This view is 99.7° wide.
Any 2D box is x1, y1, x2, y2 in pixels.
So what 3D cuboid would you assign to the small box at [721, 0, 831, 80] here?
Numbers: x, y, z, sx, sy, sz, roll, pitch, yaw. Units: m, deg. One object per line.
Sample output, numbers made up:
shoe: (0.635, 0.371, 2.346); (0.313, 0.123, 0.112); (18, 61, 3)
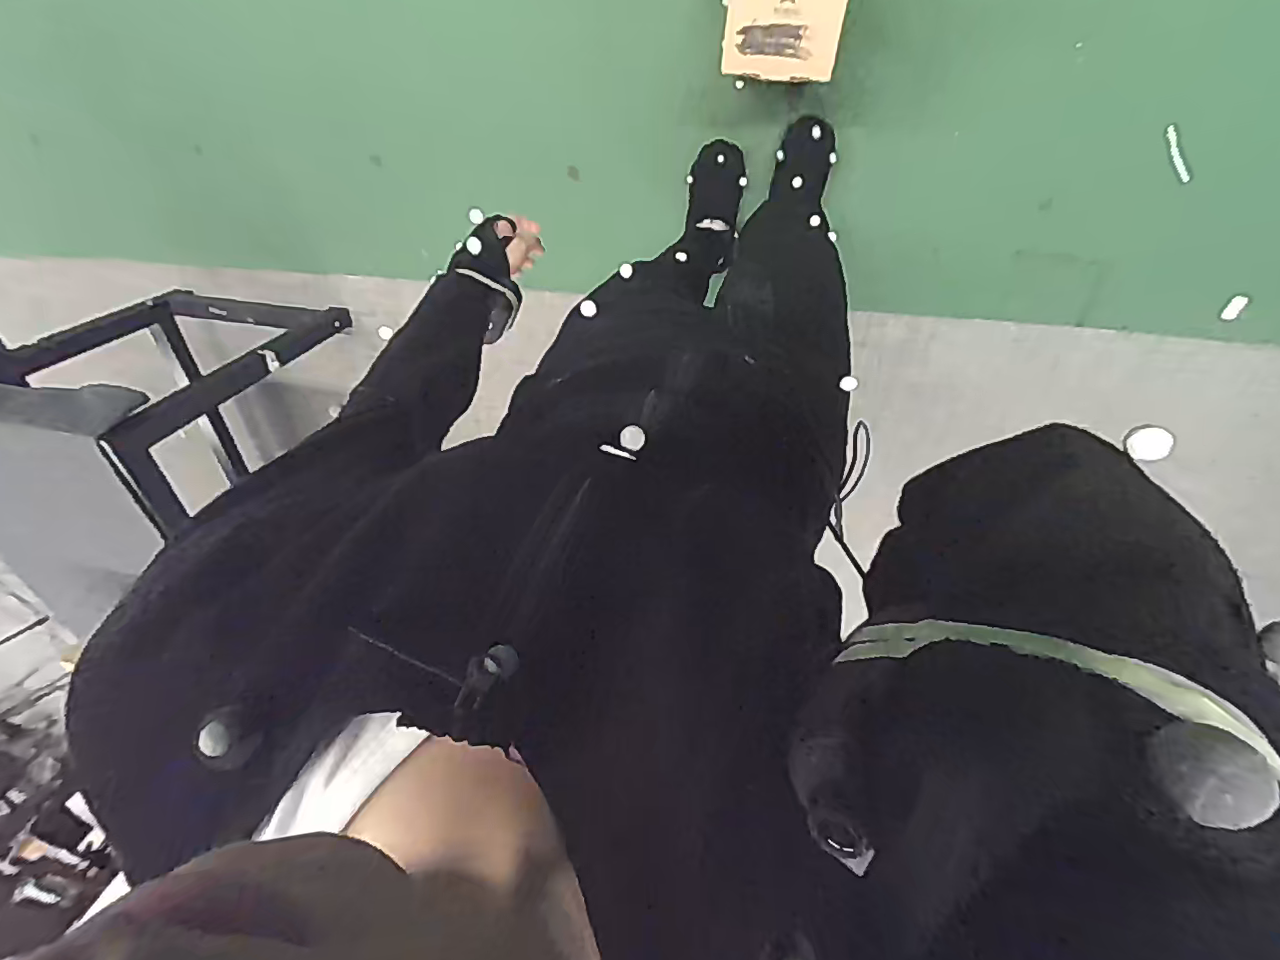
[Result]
small box: (0.240, -0.822, 0.951); (0.168, 0.176, 0.179); (9, 129, 6)
